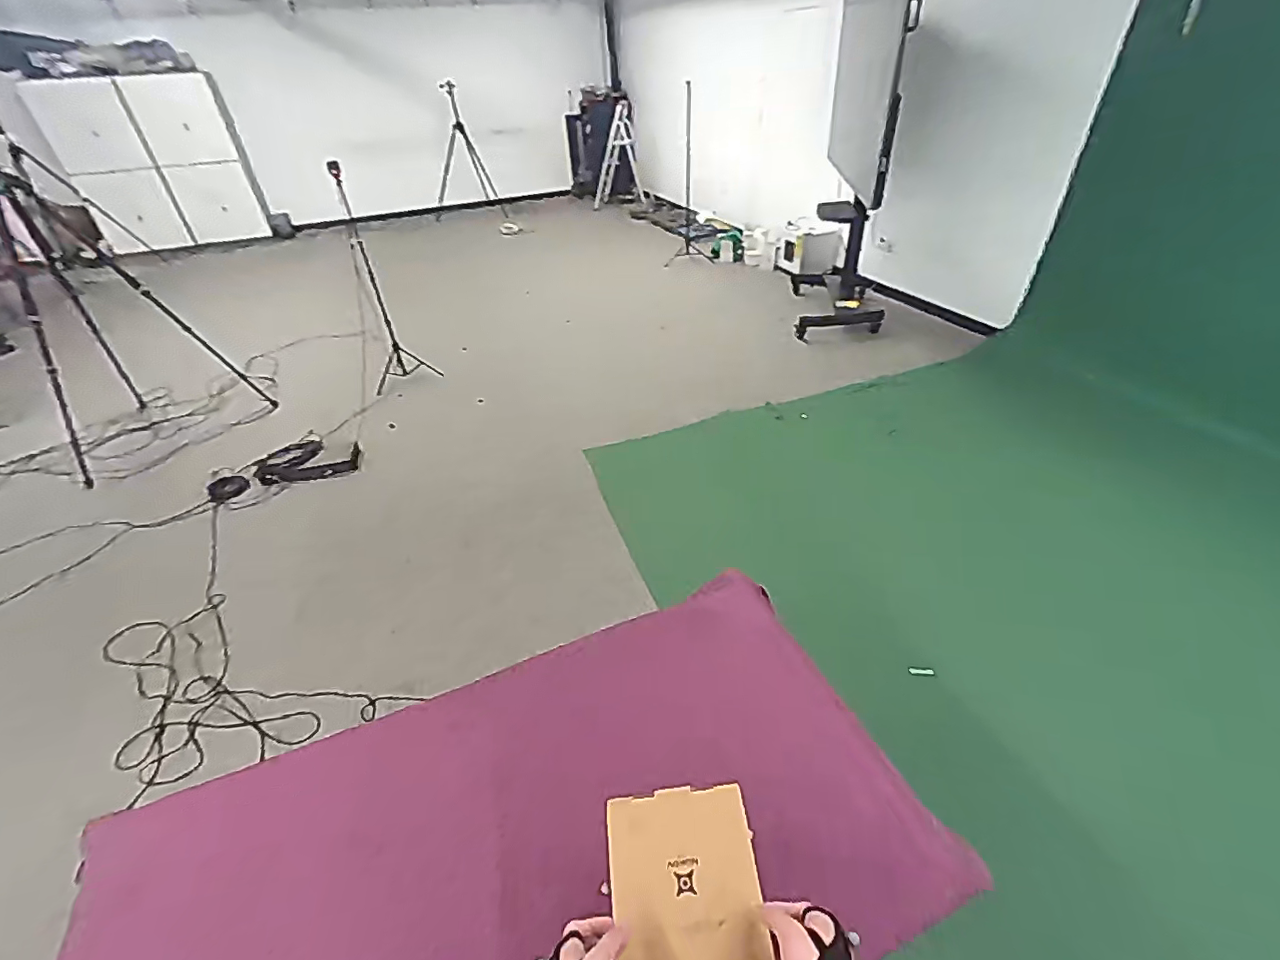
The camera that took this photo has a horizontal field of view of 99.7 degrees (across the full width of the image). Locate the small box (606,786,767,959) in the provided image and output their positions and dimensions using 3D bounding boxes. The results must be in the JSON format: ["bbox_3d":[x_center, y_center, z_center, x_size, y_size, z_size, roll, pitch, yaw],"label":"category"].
[{"bbox_3d":[0.047,0.497,0.660,0.168,0.176,0.179,-5,49,-1],"label":"small box"}]
